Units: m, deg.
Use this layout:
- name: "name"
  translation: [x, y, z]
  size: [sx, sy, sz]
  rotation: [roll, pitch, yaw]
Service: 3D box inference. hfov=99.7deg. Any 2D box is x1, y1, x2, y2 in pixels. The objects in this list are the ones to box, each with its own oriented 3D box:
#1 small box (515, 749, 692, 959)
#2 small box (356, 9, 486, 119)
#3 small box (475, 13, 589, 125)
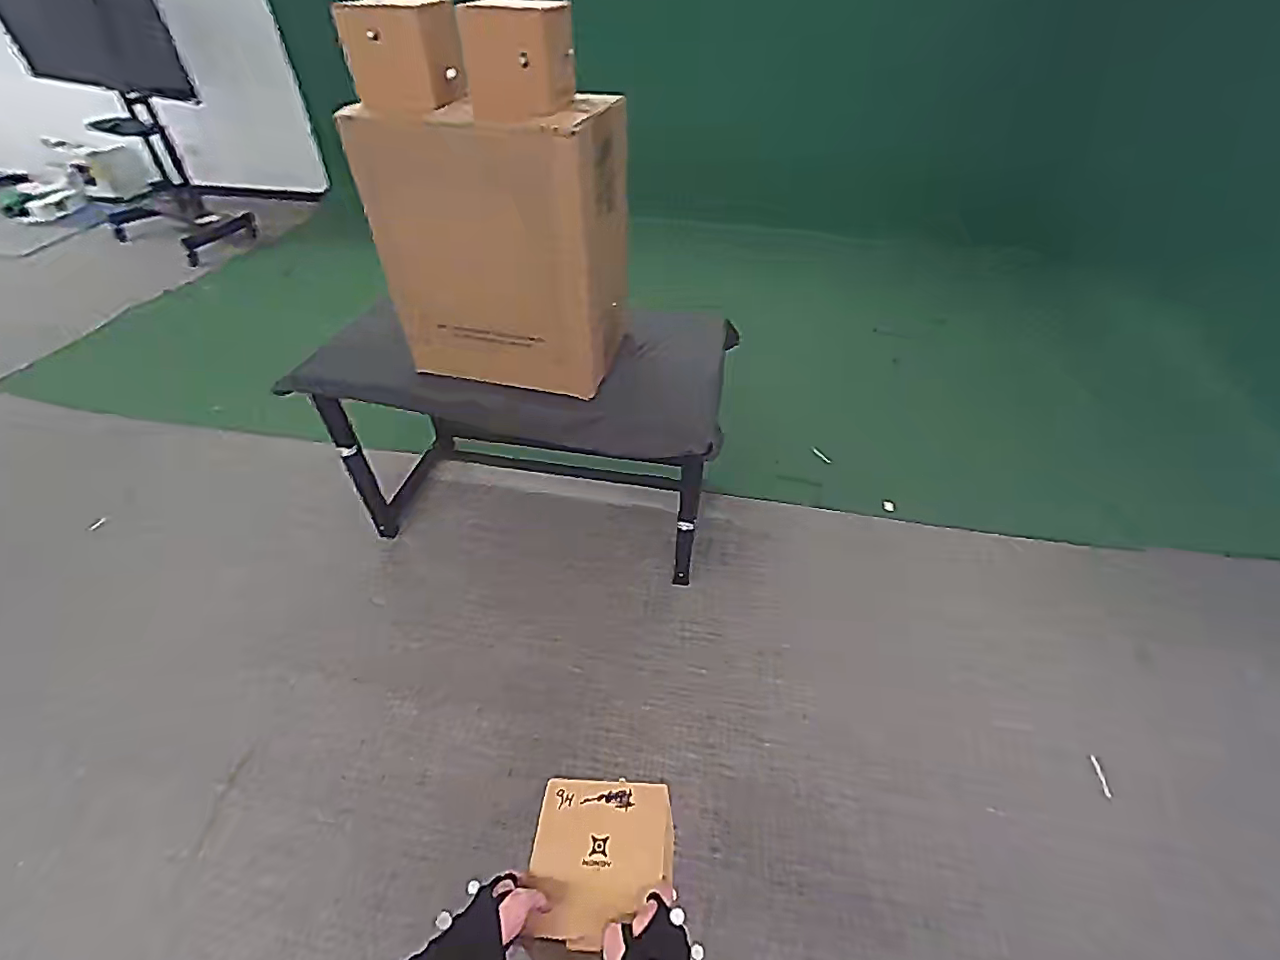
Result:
- name: "small box"
  translation: [-0.045, 0.511, 0.722]
  size: [0.179, 0.176, 0.168]
  rotation: [-21, 38, -17]
- name: "small box"
  translation: [-0.460, -0.894, 1.165]
  size: [0.179, 0.176, 0.168]
  rotation: [10, 48, 12]
- name: "small box"
  translation: [-0.213, -0.856, 1.128]
  size: [0.179, 0.176, 0.168]
  rotation: [10, 45, 11]
